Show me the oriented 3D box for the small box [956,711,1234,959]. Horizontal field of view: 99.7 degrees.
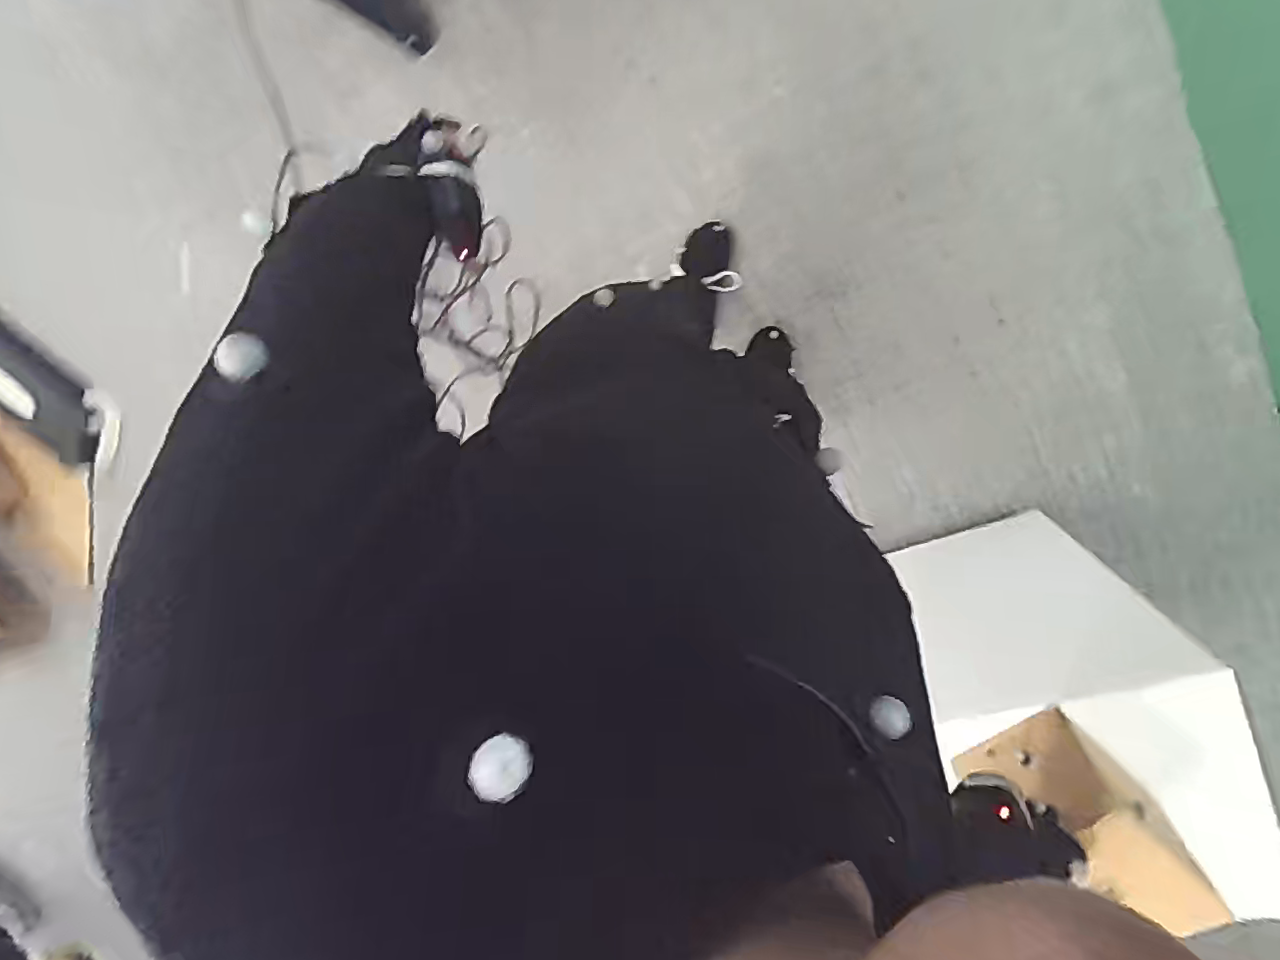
[{"bbox_3d":[0.543,0.434,0.678,0.179,0.176,0.168,43,114,-1],"label":"small box"}]
